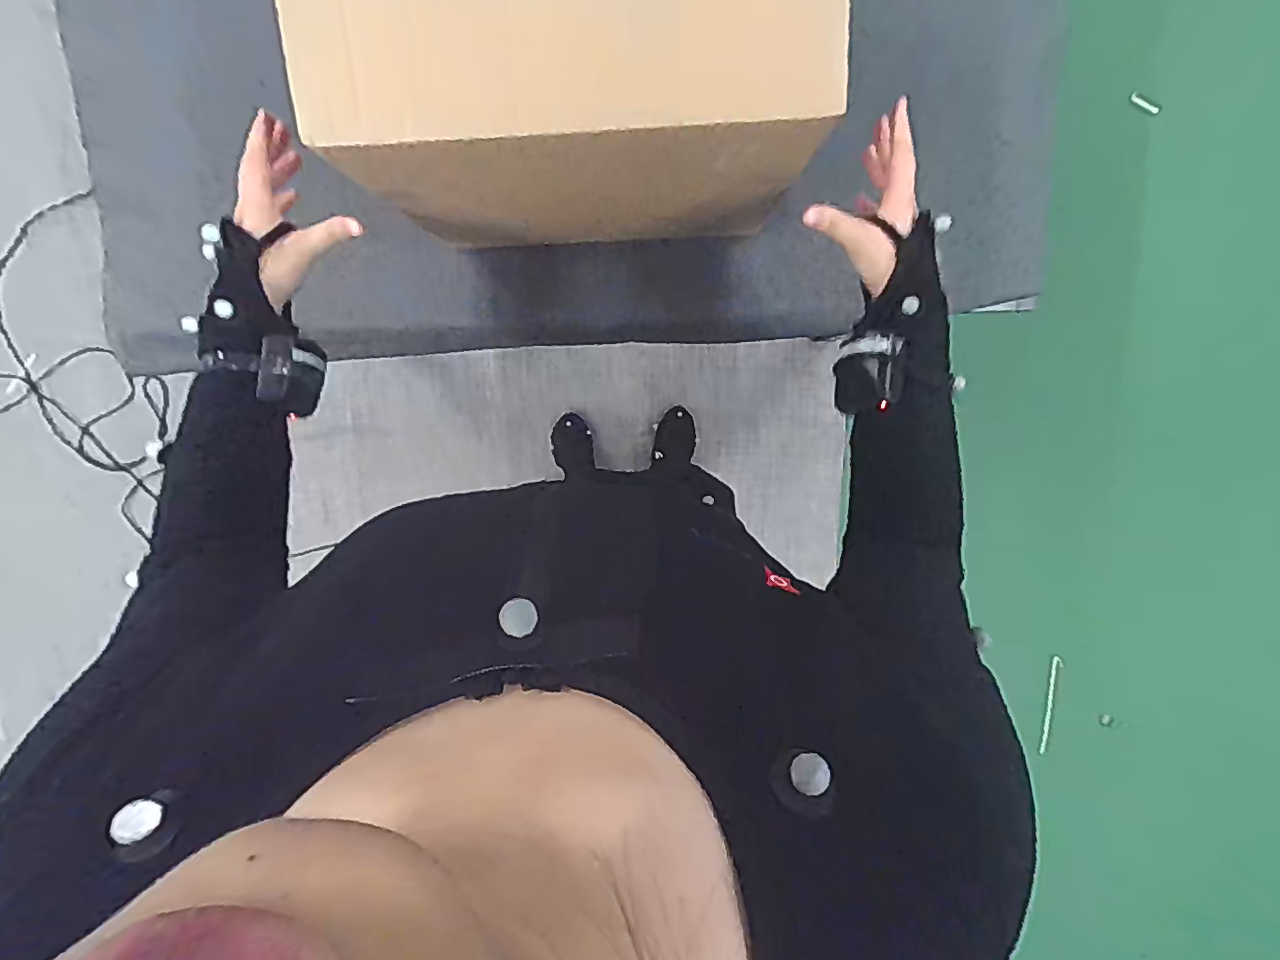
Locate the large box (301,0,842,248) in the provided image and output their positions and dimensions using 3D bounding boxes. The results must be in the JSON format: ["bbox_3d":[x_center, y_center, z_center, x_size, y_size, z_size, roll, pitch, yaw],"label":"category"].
[{"bbox_3d":[-0.057,-0.441,0.534,0.408,0.320,0.320,-3,101,0],"label":"large box"}]
